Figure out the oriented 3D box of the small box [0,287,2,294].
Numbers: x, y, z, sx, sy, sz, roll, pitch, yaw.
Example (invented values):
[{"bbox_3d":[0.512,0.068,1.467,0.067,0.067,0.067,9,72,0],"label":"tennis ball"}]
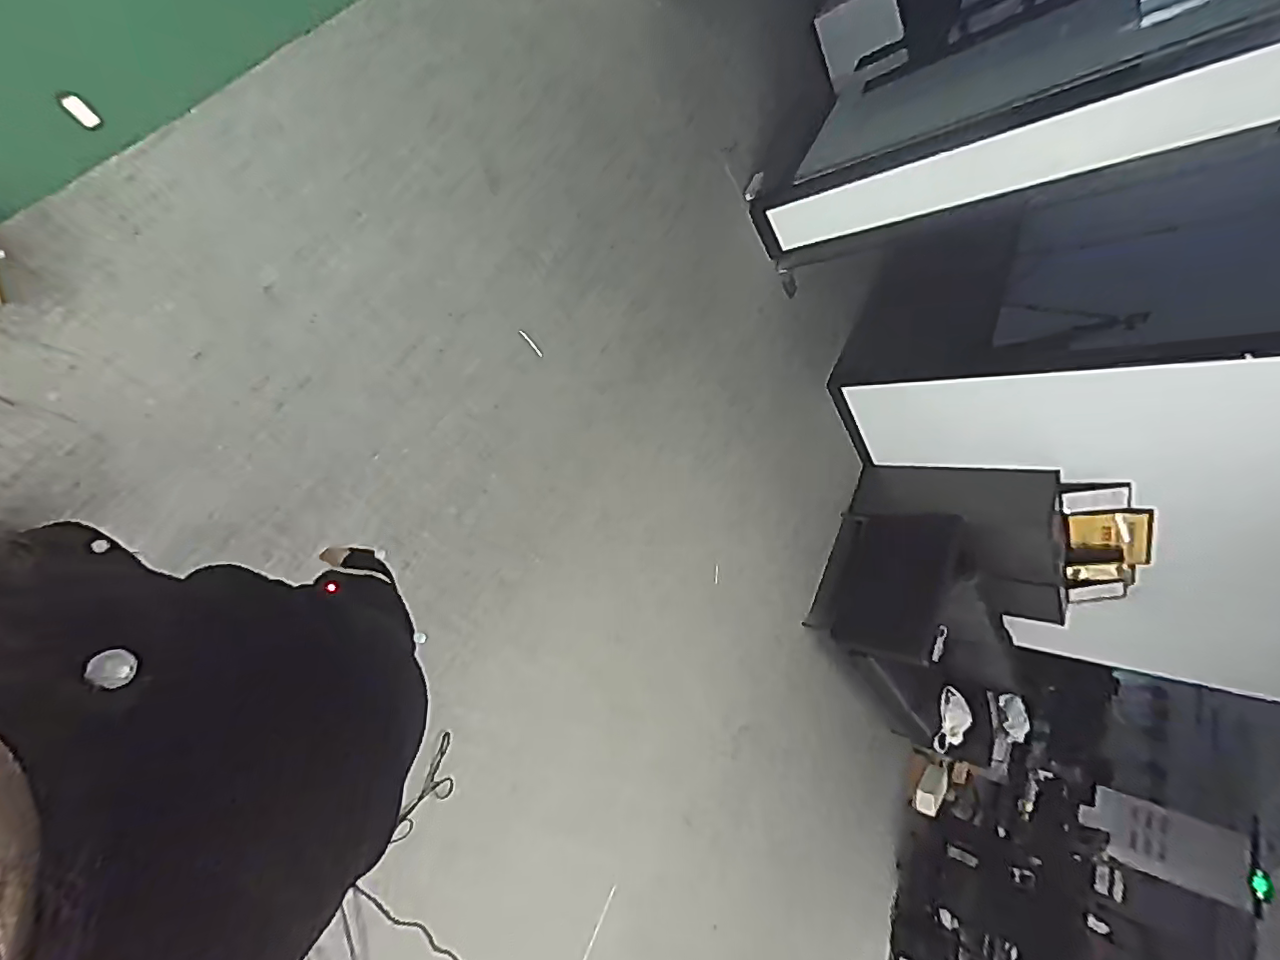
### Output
[{"bbox_3d":[-1.117,-0.375,0.816,0.179,0.176,0.168,-11,101,-47],"label":"small box"}]
